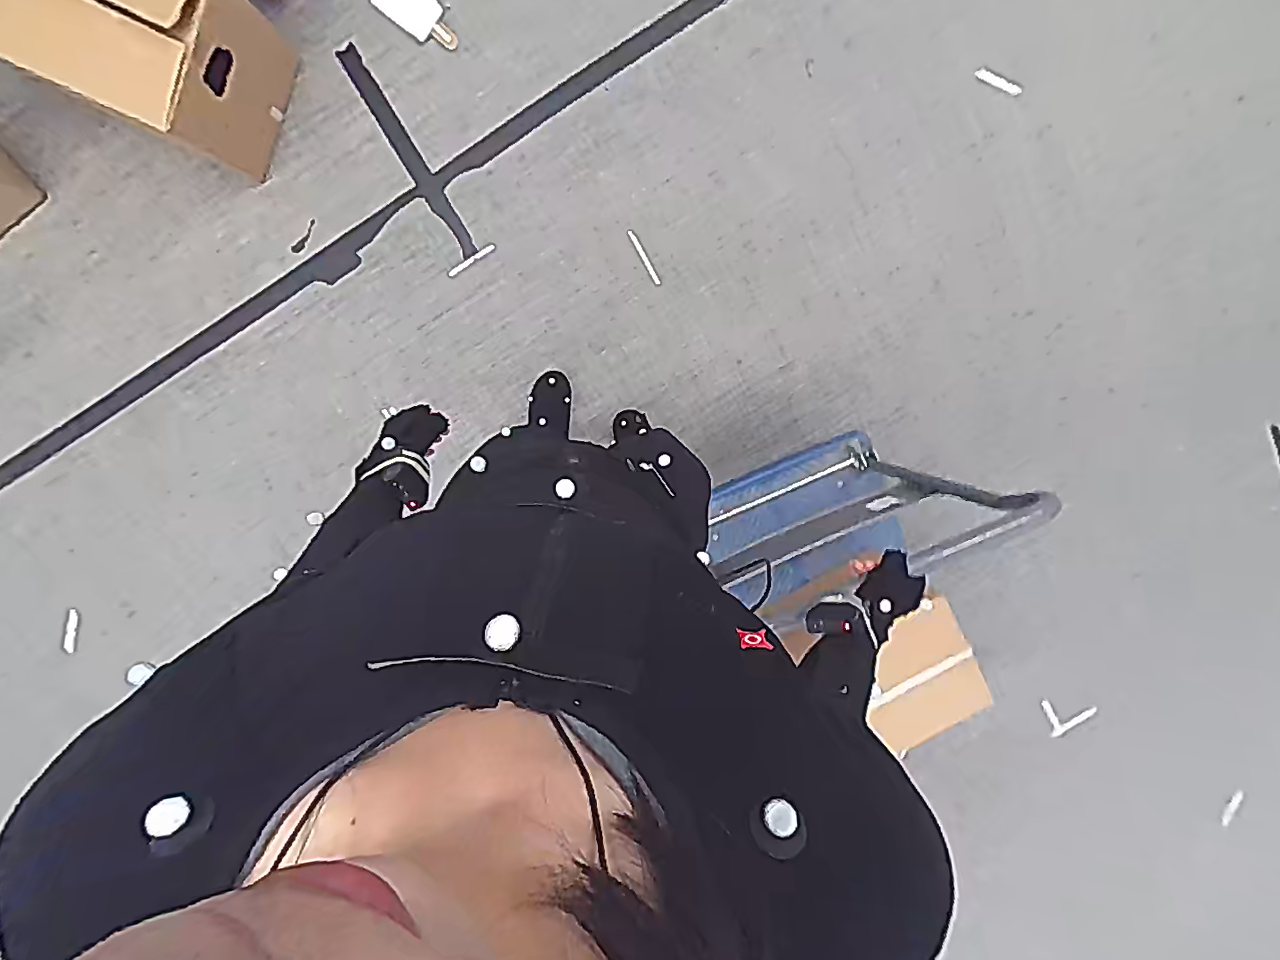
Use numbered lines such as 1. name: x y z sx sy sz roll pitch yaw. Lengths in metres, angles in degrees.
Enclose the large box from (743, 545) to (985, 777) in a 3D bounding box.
1. large box: 0.528 0.425 1.342 0.408 0.320 0.320 -30 102 3
